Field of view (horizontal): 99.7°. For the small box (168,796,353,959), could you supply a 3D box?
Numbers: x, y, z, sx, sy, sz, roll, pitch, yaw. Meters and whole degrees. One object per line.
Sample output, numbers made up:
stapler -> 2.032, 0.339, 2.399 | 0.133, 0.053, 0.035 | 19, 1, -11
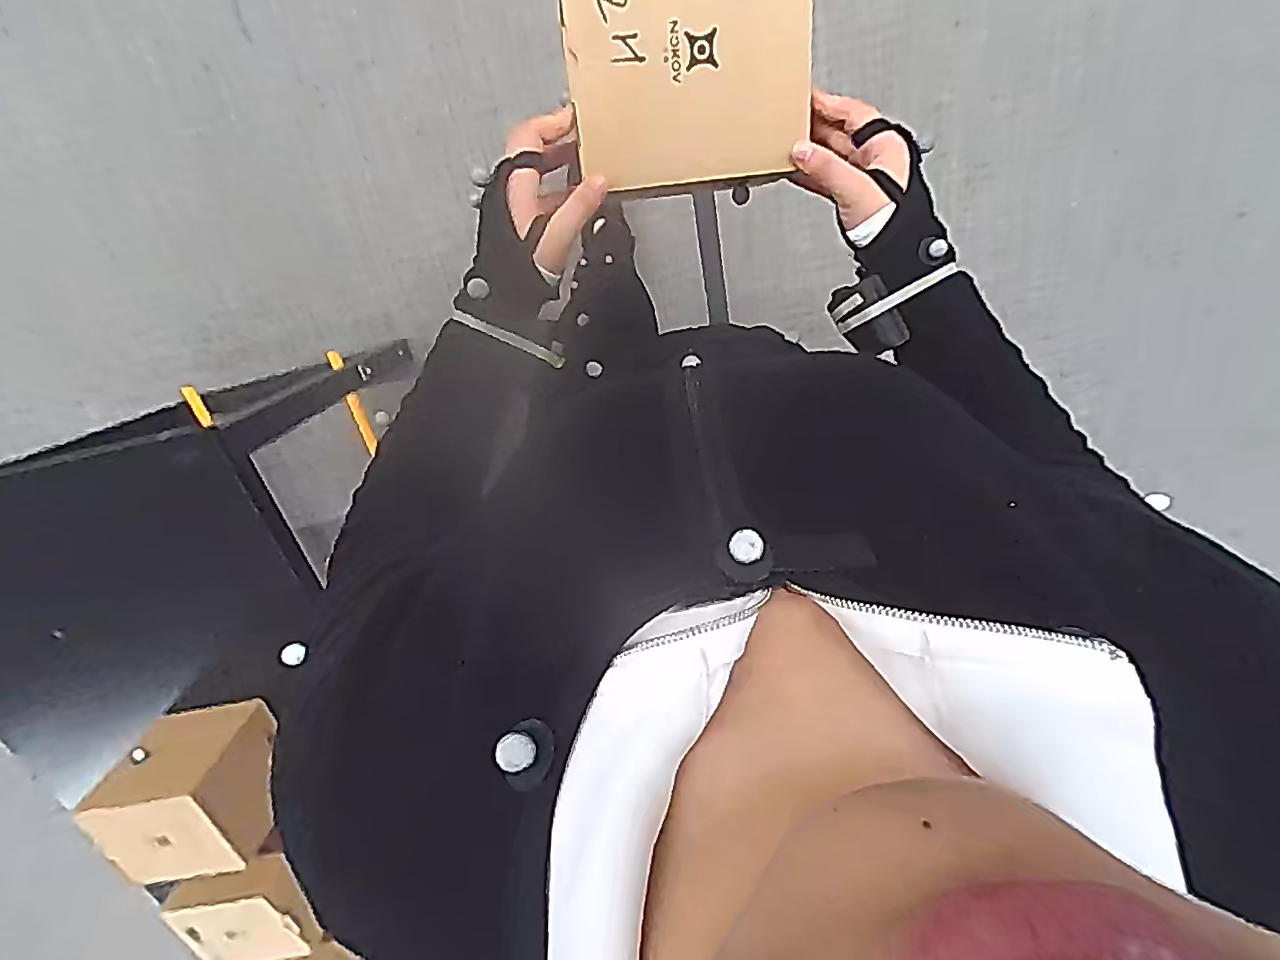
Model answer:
small box -> -0.622, 0.673, 0.921 | 0.179, 0.176, 0.168 | -11, 114, 2

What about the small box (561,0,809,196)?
small box -> 0.031, -0.345, 0.458 | 0.179, 0.176, 0.168 | -6, 114, 1

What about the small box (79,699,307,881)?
small box -> -0.665, 0.469, 0.833 | 0.179, 0.176, 0.168 | -11, 115, 2
